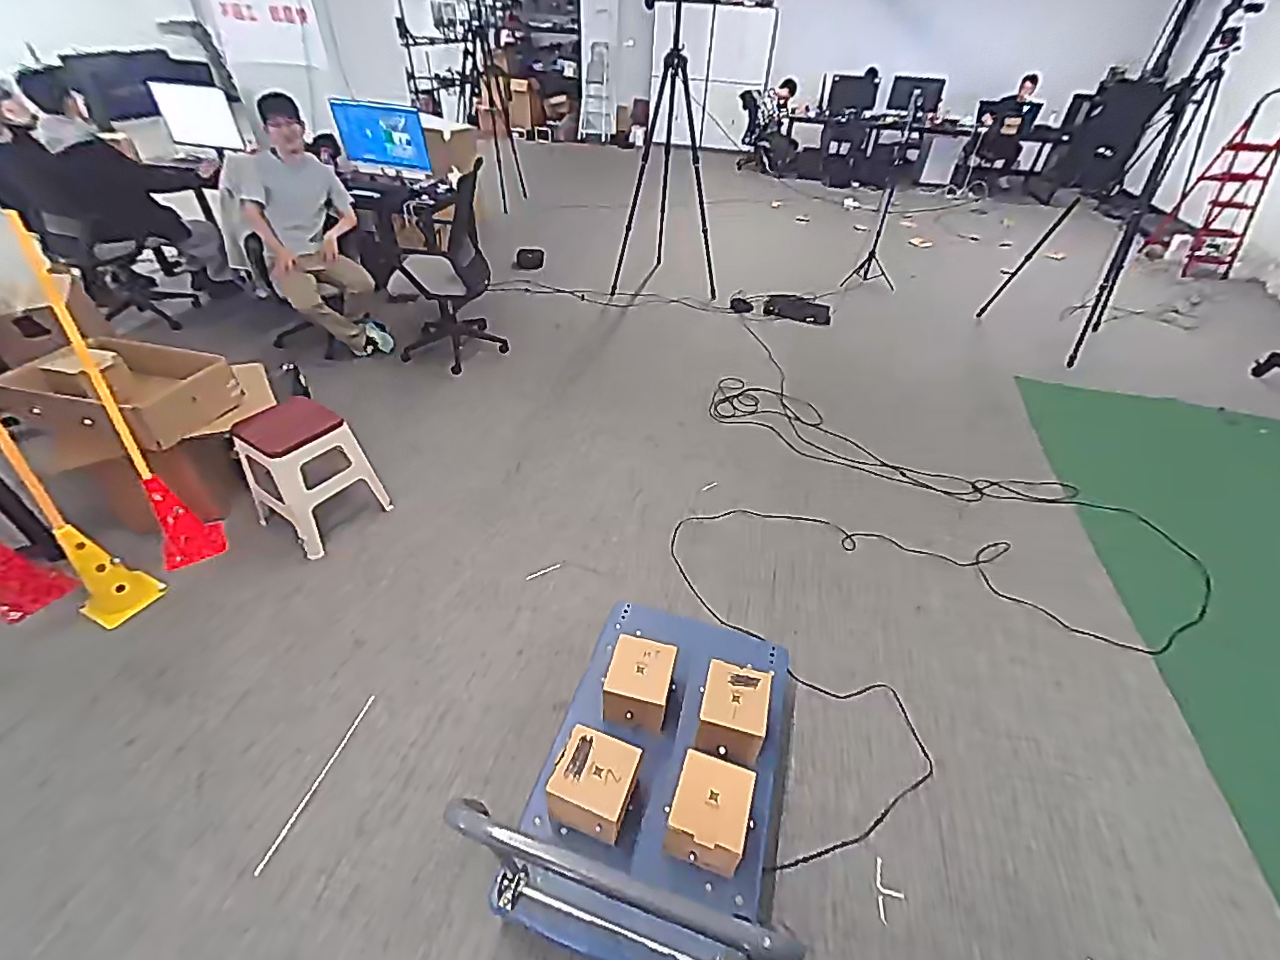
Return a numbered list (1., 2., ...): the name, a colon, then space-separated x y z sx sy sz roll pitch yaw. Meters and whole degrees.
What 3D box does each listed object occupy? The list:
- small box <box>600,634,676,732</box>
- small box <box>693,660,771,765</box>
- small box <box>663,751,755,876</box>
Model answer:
1. small box: -0.004 0.559 1.481 0.168 0.176 0.179 12 42 9
2. small box: 0.241 0.616 1.434 0.168 0.176 0.179 13 43 11
3. small box: 0.156 0.772 1.252 0.168 0.176 0.179 15 43 13
